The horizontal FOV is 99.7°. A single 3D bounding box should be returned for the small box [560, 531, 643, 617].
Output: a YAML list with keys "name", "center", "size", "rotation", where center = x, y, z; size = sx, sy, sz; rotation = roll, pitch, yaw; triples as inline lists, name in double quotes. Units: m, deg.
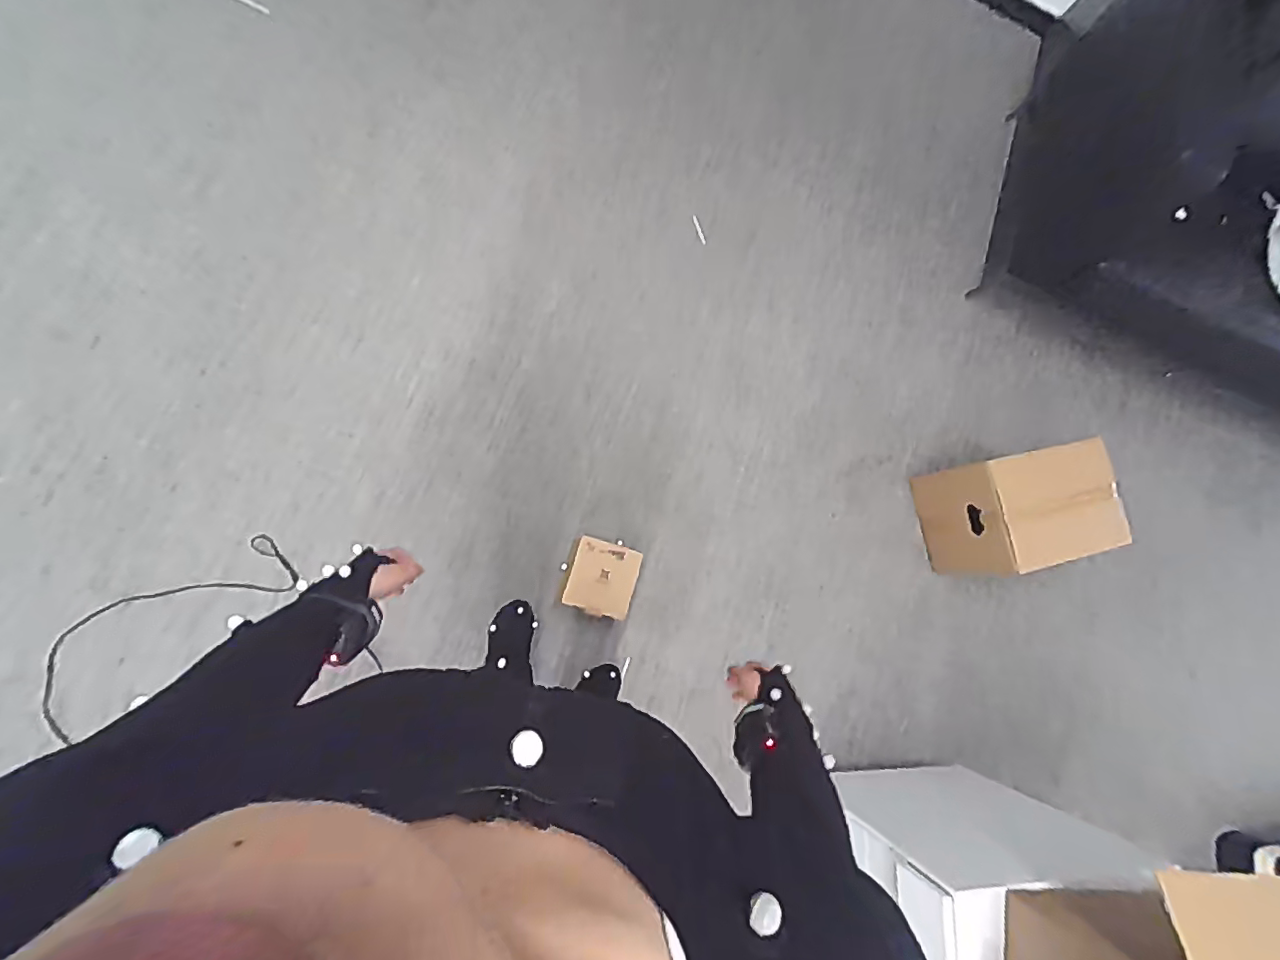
- name: "small box"
  center: [-0.108, 0.245, 1.422]
  size: [0.168, 0.176, 0.179]
  rotation: [19, 78, -9]
